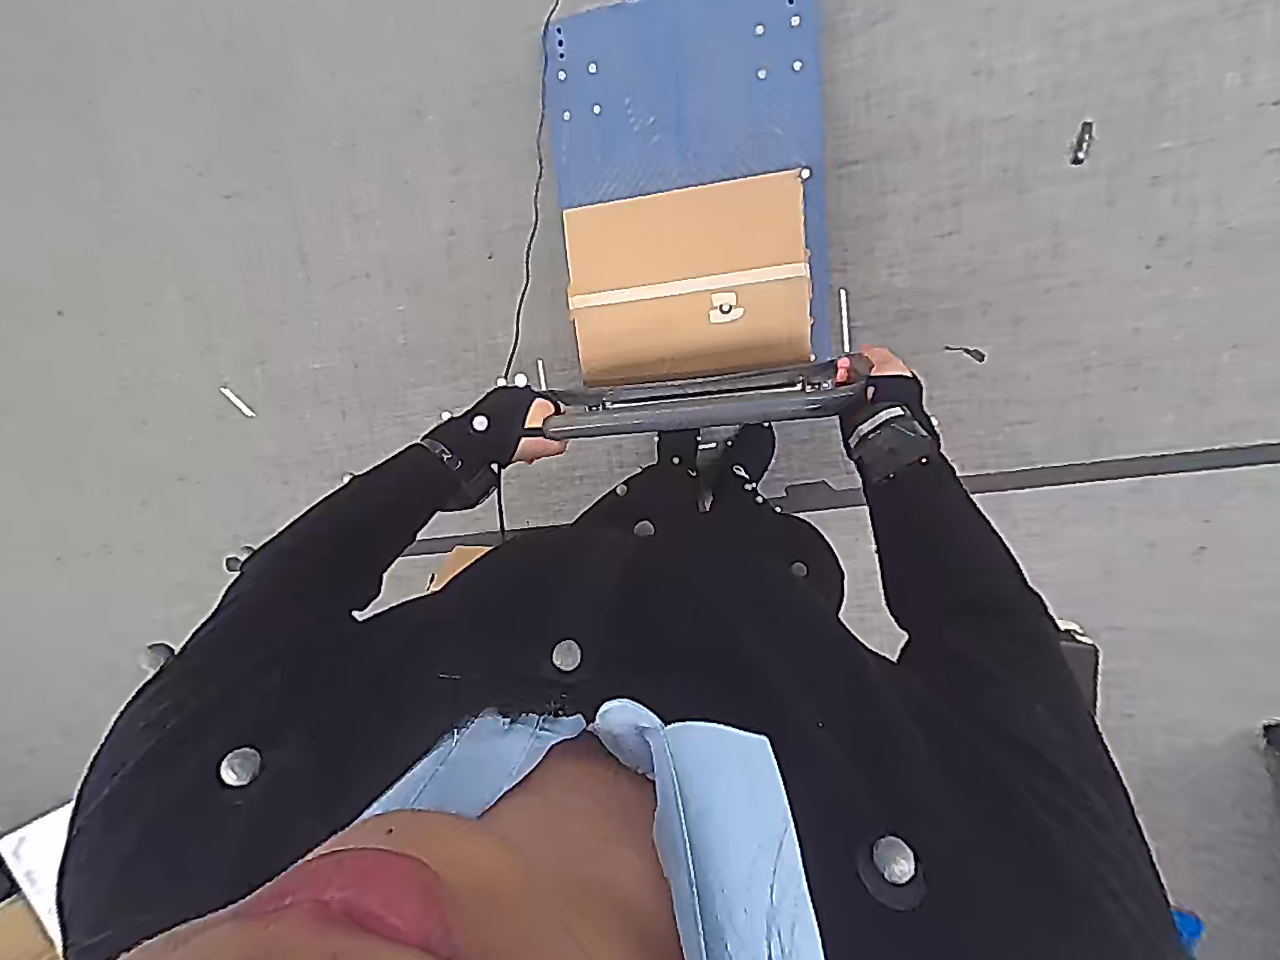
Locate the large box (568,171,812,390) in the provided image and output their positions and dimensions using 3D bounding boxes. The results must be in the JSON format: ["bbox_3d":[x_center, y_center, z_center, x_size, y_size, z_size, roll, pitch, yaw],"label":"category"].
[{"bbox_3d":[0.107,-0.360,1.081,0.408,0.320,0.320,-5,100,11],"label":"large box"}]
